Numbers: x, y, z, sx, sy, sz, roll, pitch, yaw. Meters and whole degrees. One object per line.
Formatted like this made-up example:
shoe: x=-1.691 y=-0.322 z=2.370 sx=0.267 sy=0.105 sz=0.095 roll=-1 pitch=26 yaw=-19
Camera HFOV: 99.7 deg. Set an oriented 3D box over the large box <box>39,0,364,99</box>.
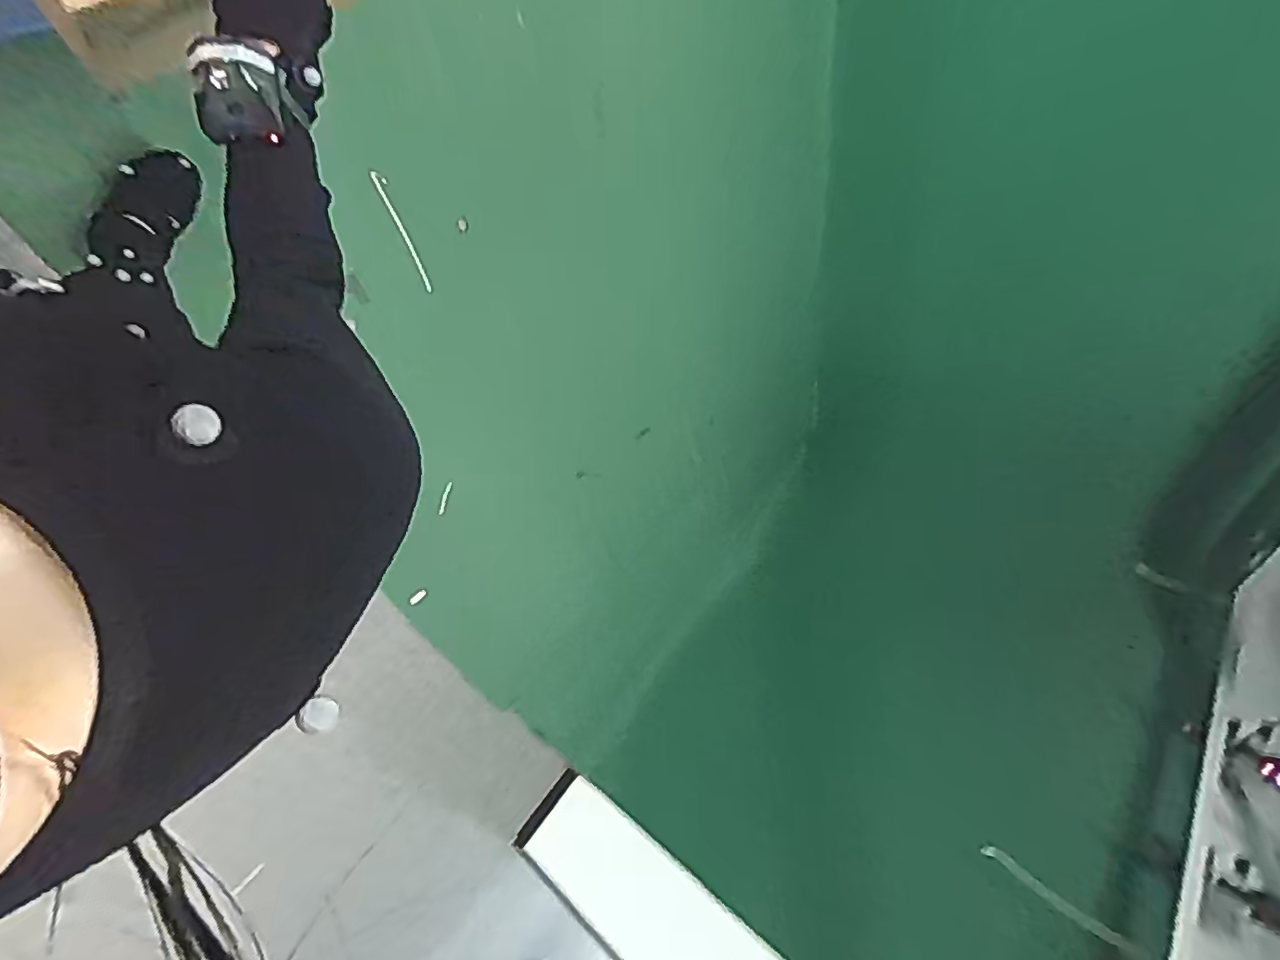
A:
large box: x=-0.438 y=-0.595 z=0.407 sx=0.320 sy=0.320 sz=0.408 roll=-41 pitch=130 yaw=-19
